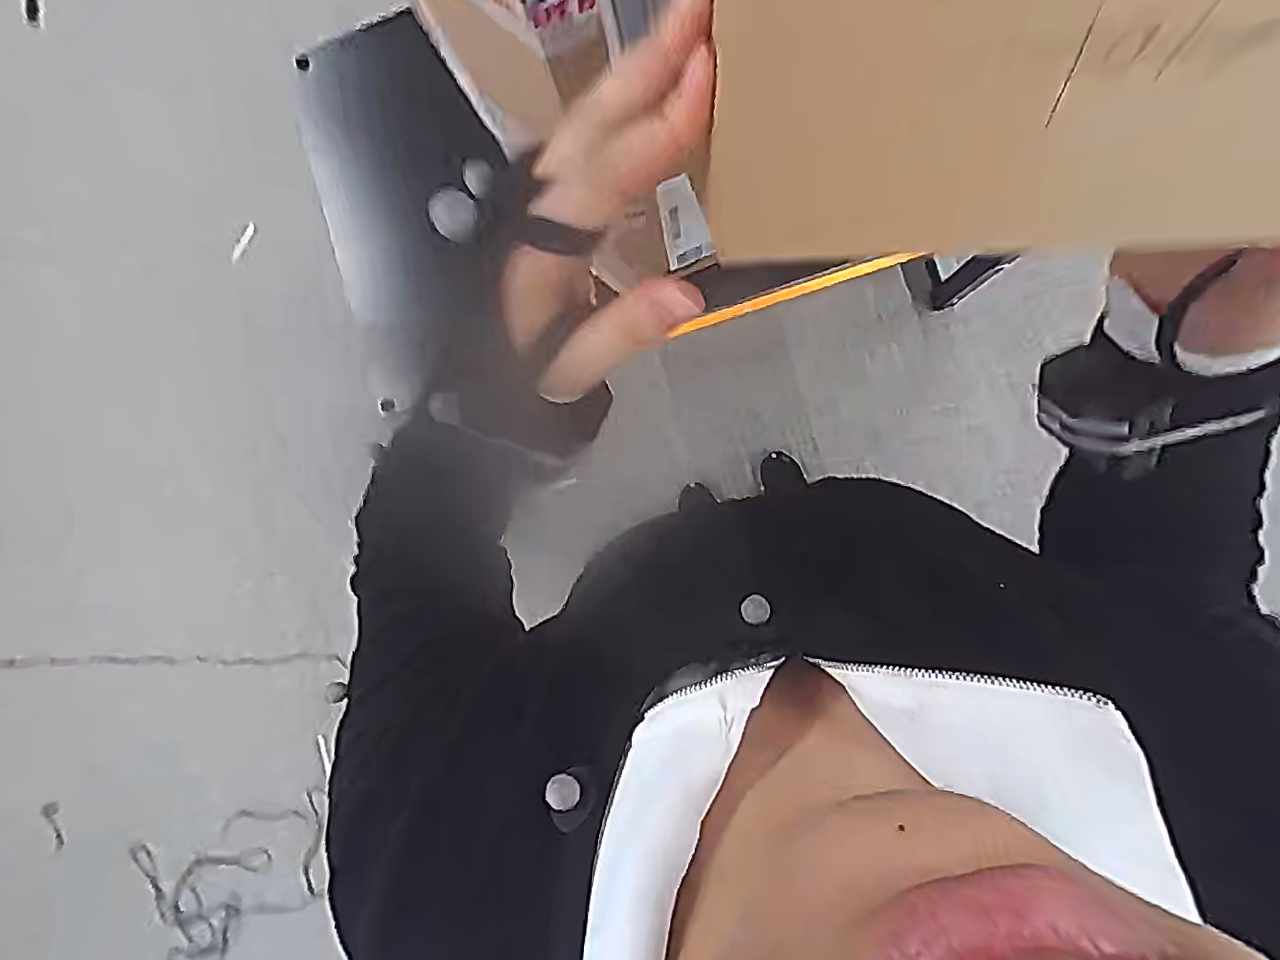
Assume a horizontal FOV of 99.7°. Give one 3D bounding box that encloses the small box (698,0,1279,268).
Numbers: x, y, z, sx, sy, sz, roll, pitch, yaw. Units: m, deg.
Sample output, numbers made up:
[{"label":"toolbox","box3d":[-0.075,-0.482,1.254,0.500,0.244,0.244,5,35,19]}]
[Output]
[{"label":"small box","box3d":[0.109,-0.179,0.164,0.168,0.176,0.179,0,129,0]}]
